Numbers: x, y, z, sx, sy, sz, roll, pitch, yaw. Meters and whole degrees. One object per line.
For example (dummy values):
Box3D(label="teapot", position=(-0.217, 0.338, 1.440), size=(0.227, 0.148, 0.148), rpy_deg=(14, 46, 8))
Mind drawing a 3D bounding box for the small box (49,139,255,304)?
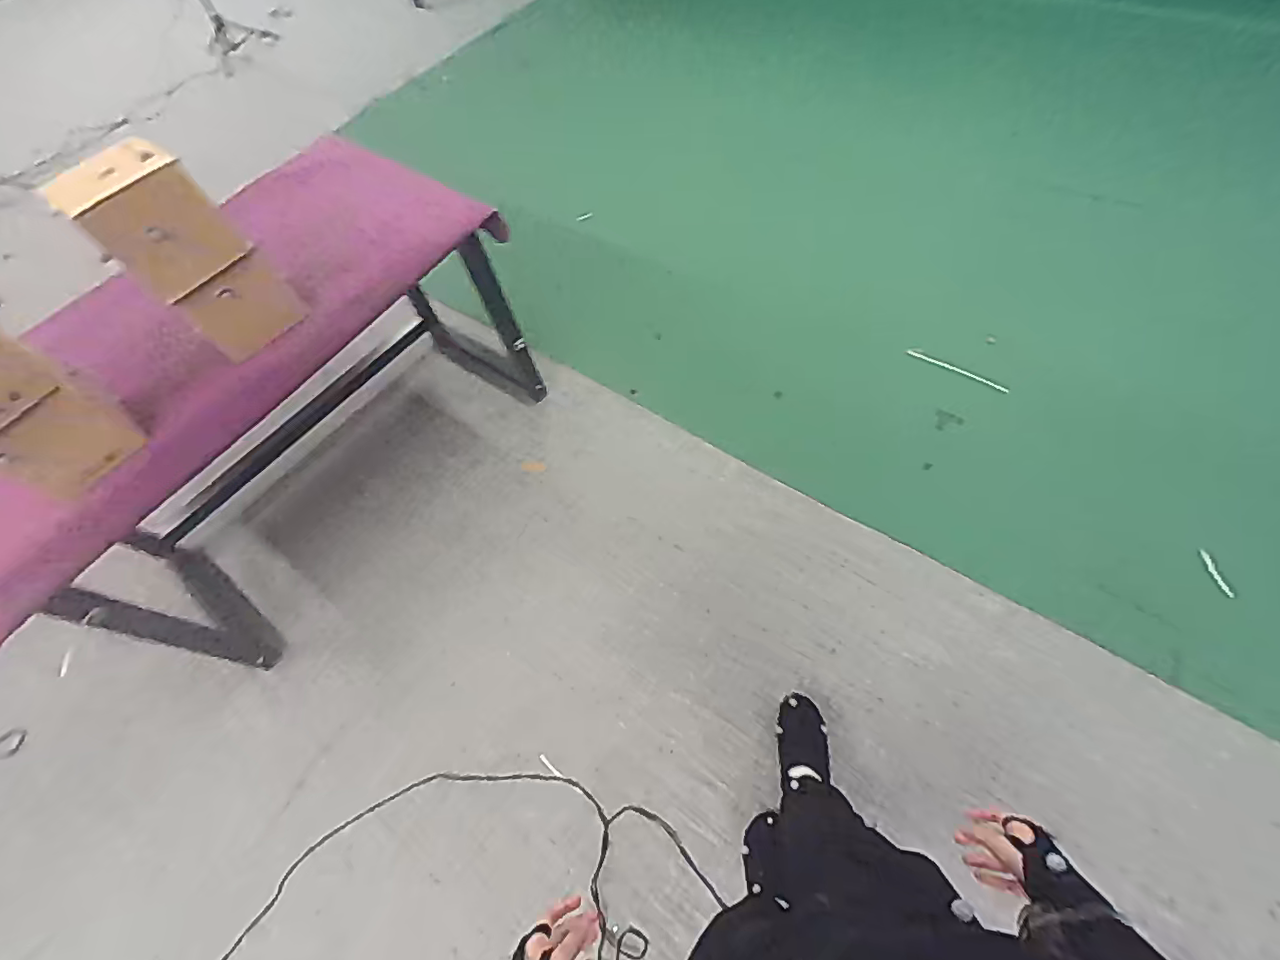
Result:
Box3D(label="small box", position=(-0.822, -0.437, 0.927), size=(0.168, 0.176, 0.179), rpy_deg=(33, 71, 24))

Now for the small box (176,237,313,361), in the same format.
Box3D(label="small box", position=(-0.806, -0.370, 1.076), size=(0.168, 0.176, 0.179), rpy_deg=(34, 70, 24))

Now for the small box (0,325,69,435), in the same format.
Box3D(label="small box", position=(-1.040, -0.174, 0.808), size=(0.179, 0.176, 0.168), rpy_deg=(28, 68, 22))
